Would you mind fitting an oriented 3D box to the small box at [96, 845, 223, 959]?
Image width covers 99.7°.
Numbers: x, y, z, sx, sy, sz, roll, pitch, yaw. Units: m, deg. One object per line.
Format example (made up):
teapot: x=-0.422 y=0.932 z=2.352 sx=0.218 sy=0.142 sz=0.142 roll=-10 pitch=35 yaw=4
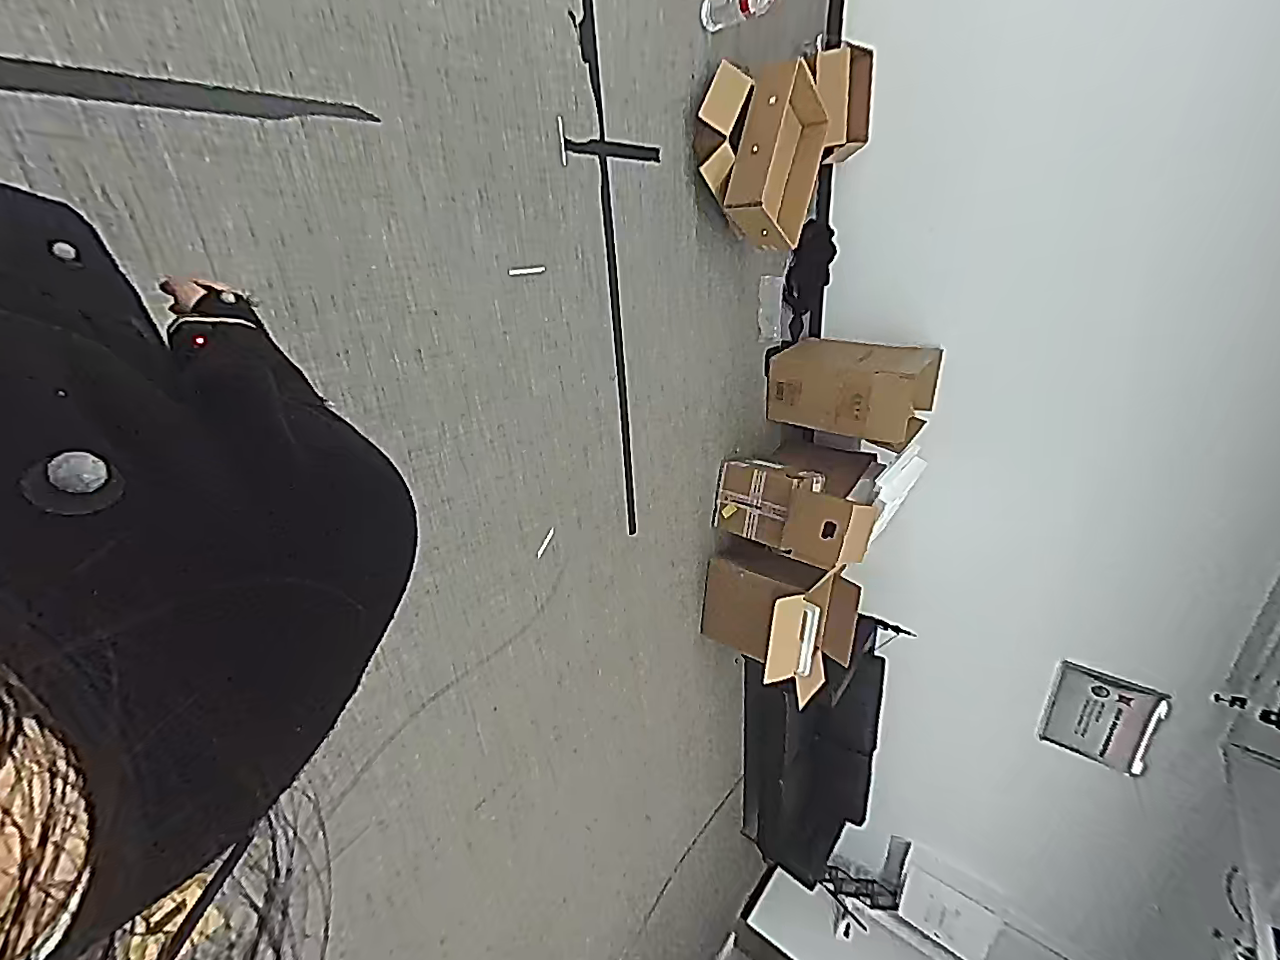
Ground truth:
small box: x=-1.159 y=1.031 z=1.304 sx=0.168 sy=0.176 sz=0.179 roll=-31 pitch=126 yaw=-42
